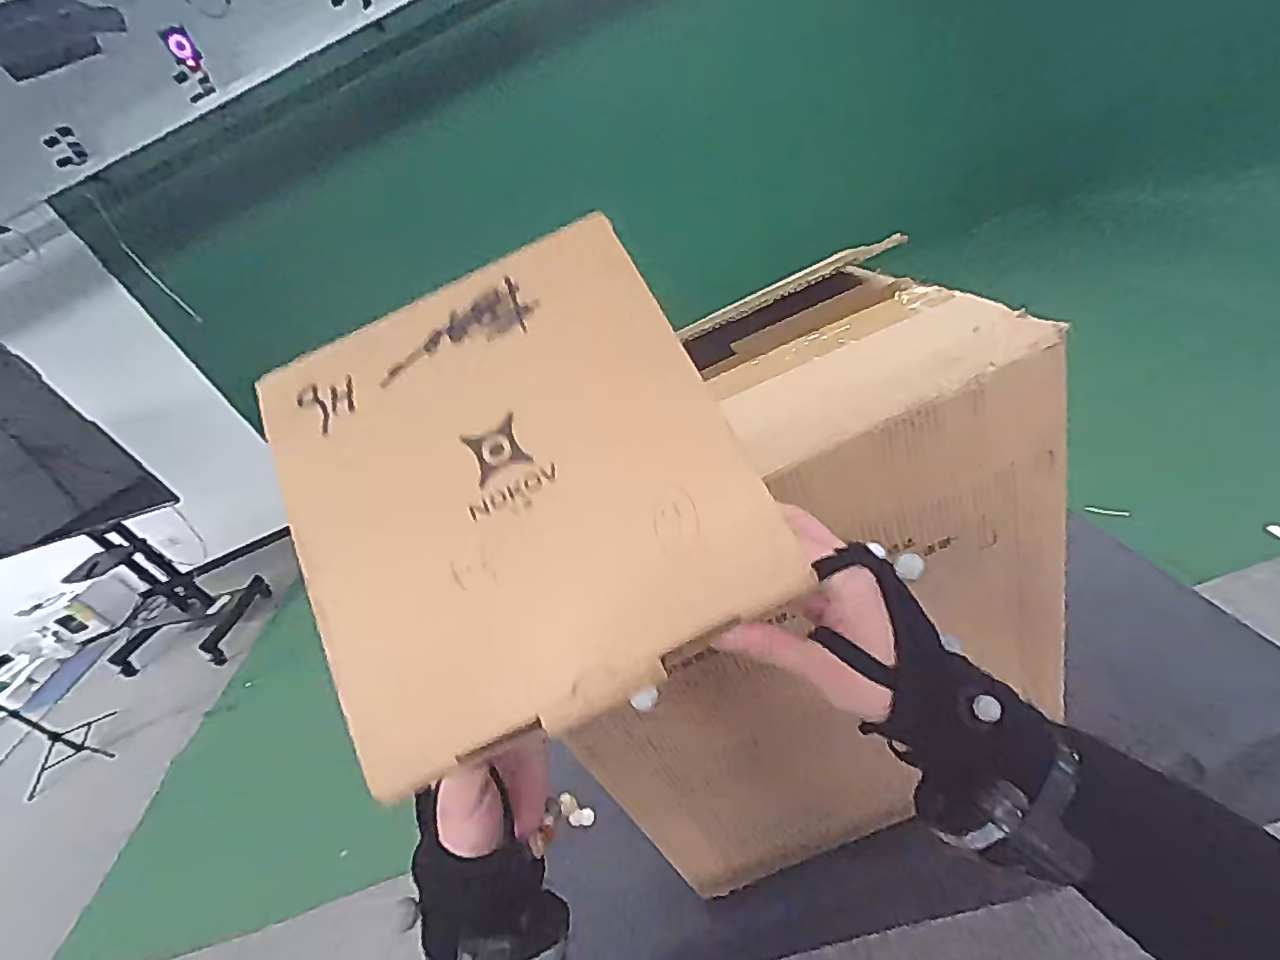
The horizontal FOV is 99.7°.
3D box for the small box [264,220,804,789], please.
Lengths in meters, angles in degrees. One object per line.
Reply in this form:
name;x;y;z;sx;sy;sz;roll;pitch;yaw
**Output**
small box;-0.041;0.017;0.284;0.168;0.176;0.179;-27;74;-2
